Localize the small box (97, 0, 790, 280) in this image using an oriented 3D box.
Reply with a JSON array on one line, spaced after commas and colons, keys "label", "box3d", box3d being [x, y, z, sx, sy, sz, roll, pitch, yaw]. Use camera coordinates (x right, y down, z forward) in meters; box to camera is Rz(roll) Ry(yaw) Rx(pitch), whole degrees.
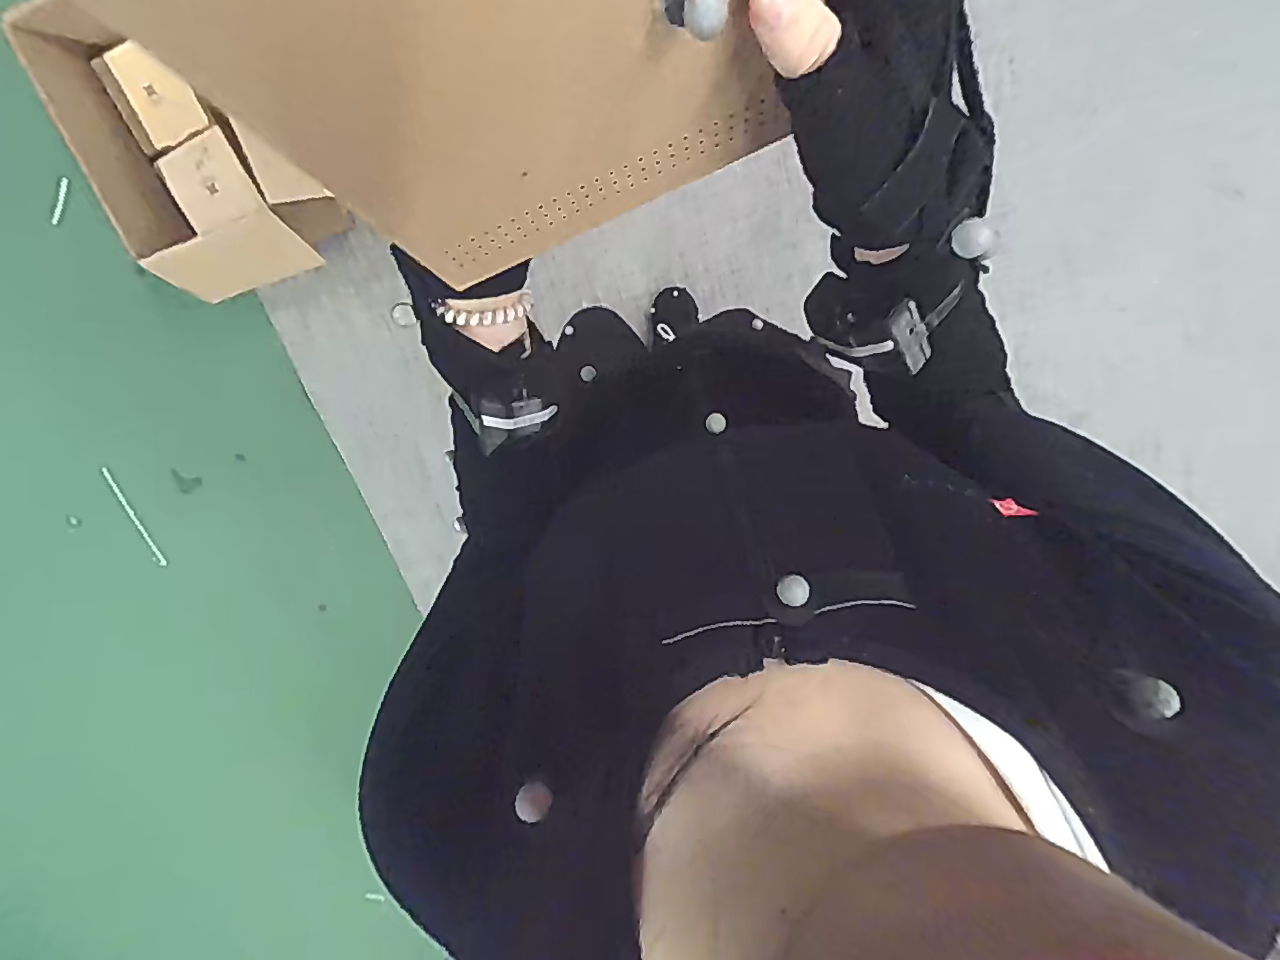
[{"label": "small box", "box3d": [-0.053, -0.203, 0.187, 0.179, 0.176, 0.168, -20, 82, 8]}]
